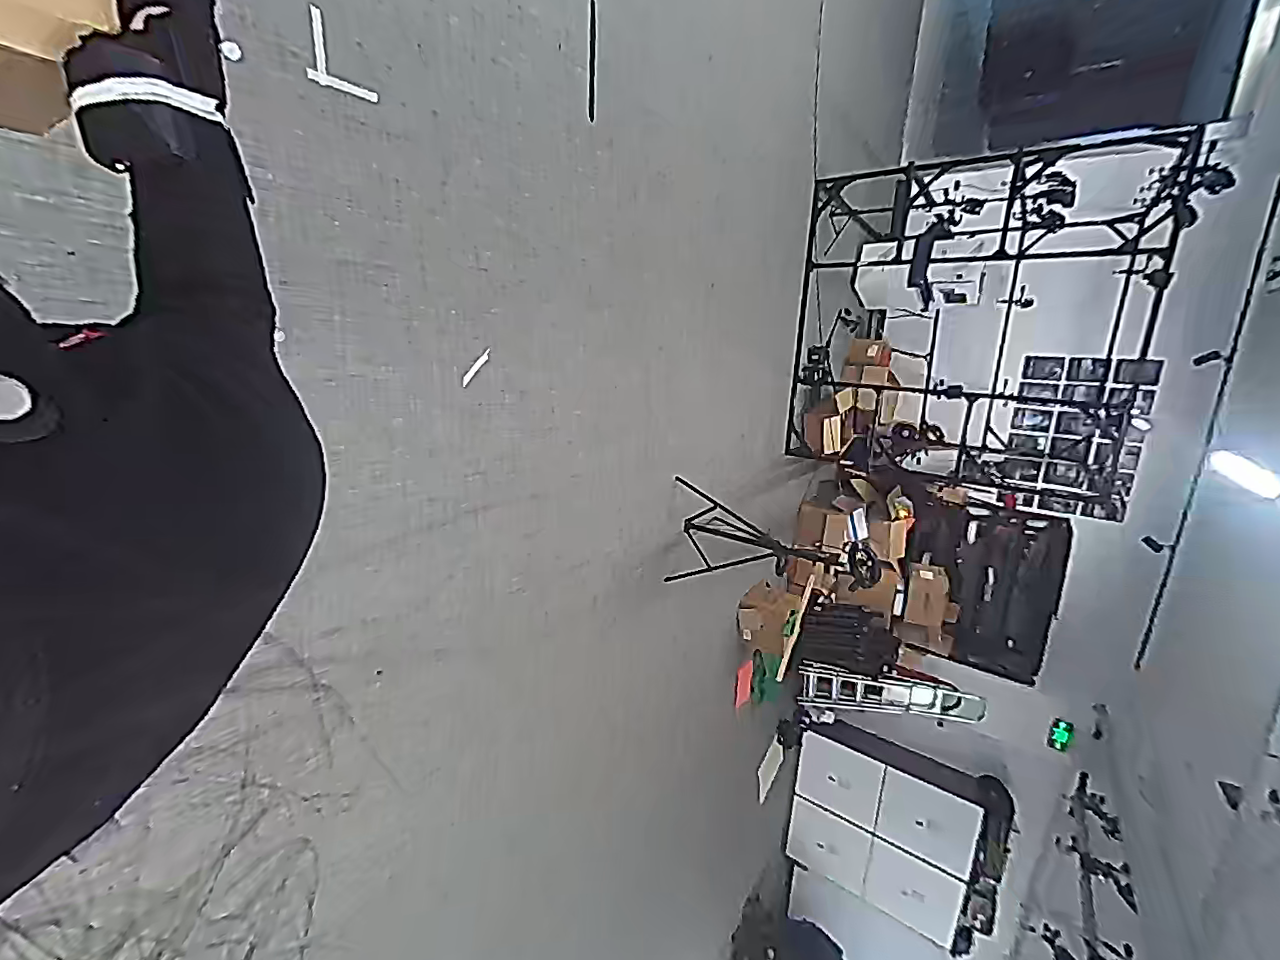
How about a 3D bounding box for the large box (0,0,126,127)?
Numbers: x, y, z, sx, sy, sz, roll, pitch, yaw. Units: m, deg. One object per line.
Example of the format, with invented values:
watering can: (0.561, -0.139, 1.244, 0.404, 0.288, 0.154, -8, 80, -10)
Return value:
large box: (-0.581, -0.425, 0.260, 0.408, 0.320, 0.320, -15, 117, -53)
